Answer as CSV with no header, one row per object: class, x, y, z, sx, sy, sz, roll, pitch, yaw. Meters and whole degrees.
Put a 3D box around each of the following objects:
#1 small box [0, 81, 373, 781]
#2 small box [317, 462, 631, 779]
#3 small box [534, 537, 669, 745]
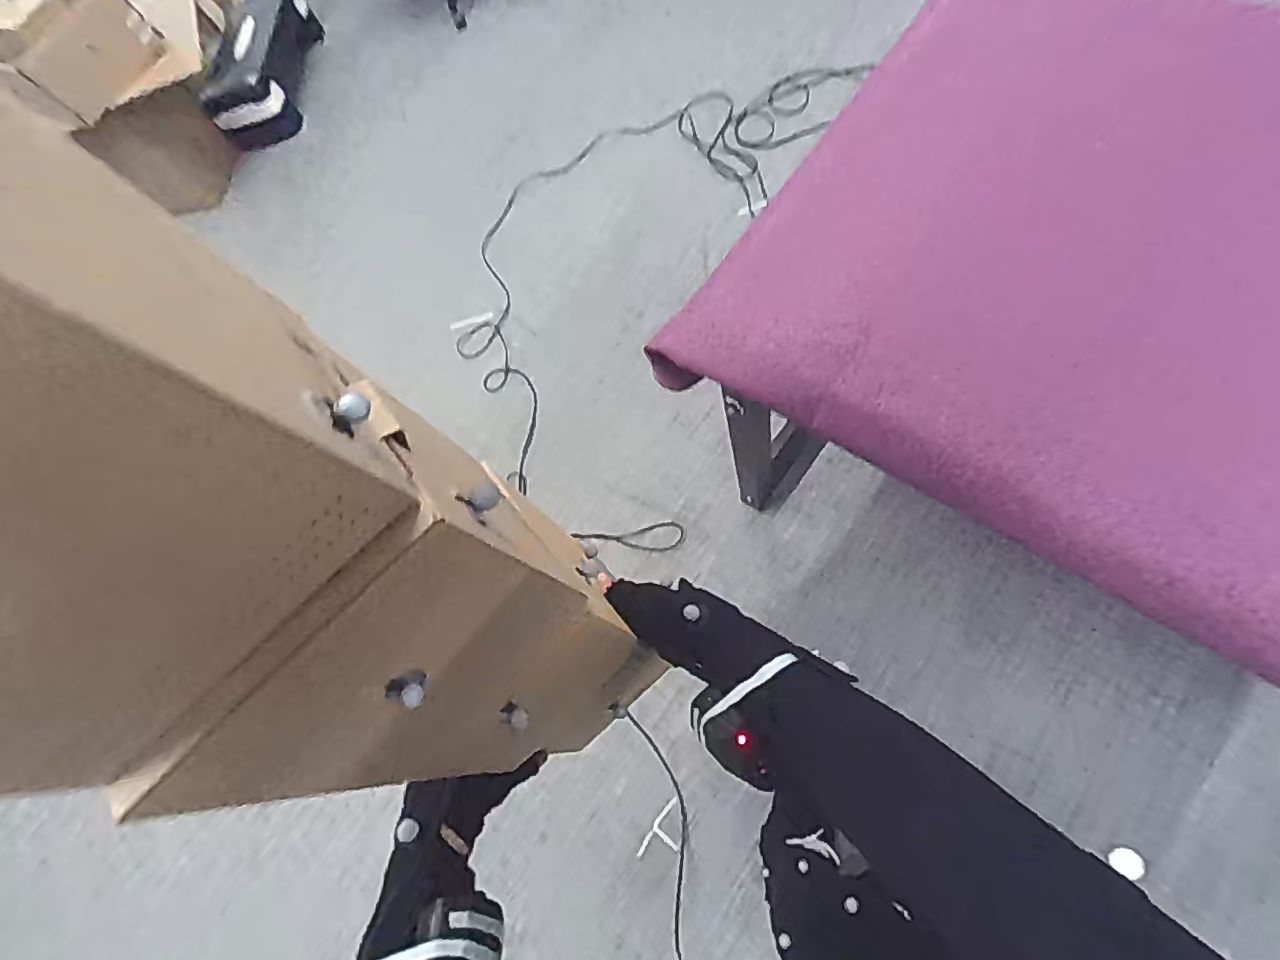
small box,-0.227,-0.019,0.188,0.179,0.176,0.168,-42,60,-2
small box,-0.125,0.122,0.468,0.179,0.176,0.168,-40,61,-3
small box,-0.093,0.181,0.618,0.168,0.176,0.179,-41,61,-4
